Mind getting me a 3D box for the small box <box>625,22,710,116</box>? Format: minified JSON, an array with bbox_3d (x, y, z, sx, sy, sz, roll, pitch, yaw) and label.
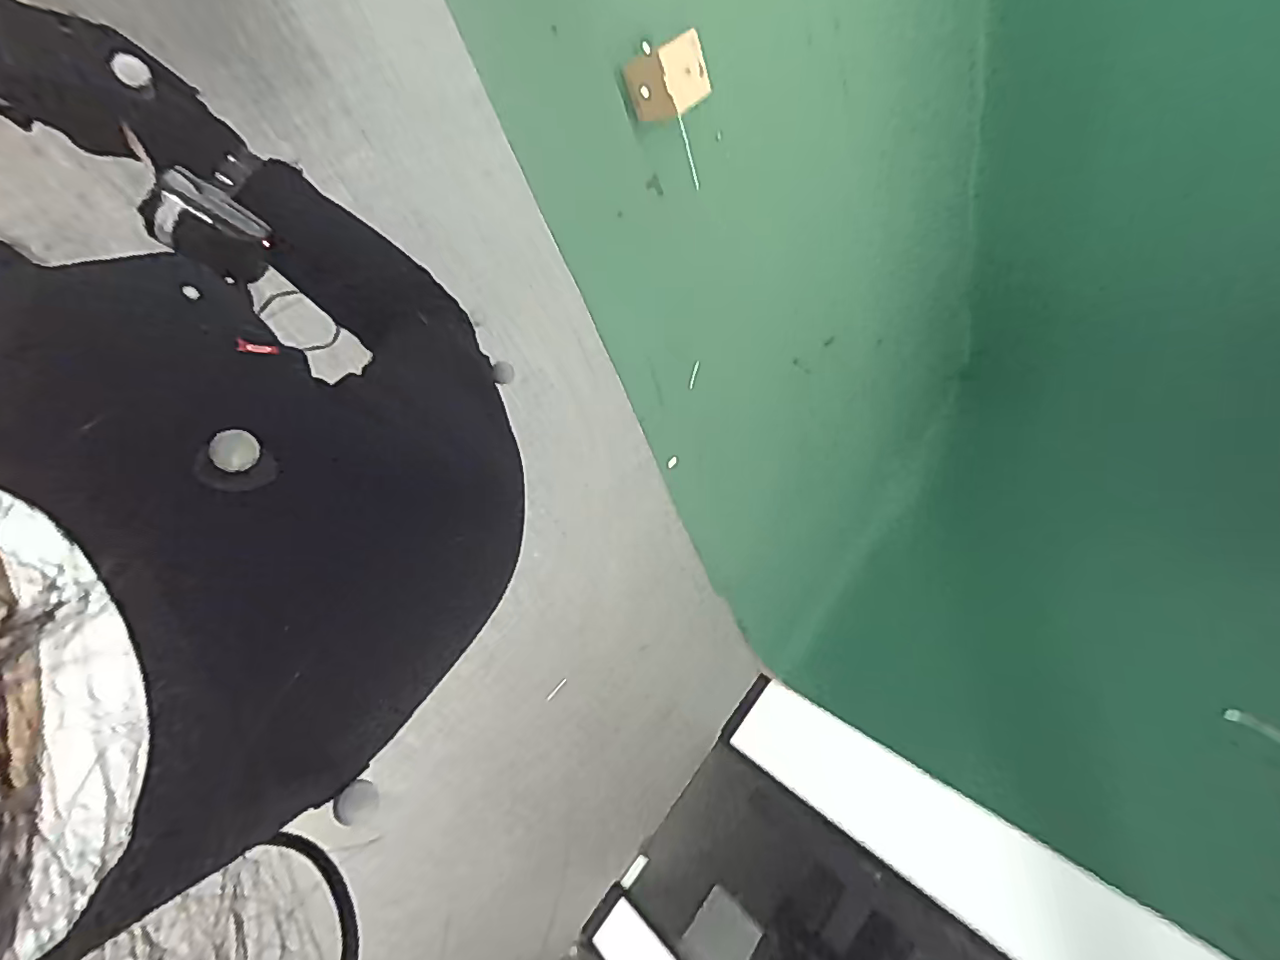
[{"bbox_3d":[0.076,-1.238,1.638,0.179,0.176,0.168,-45,133,-20],"label":"small box"}]
